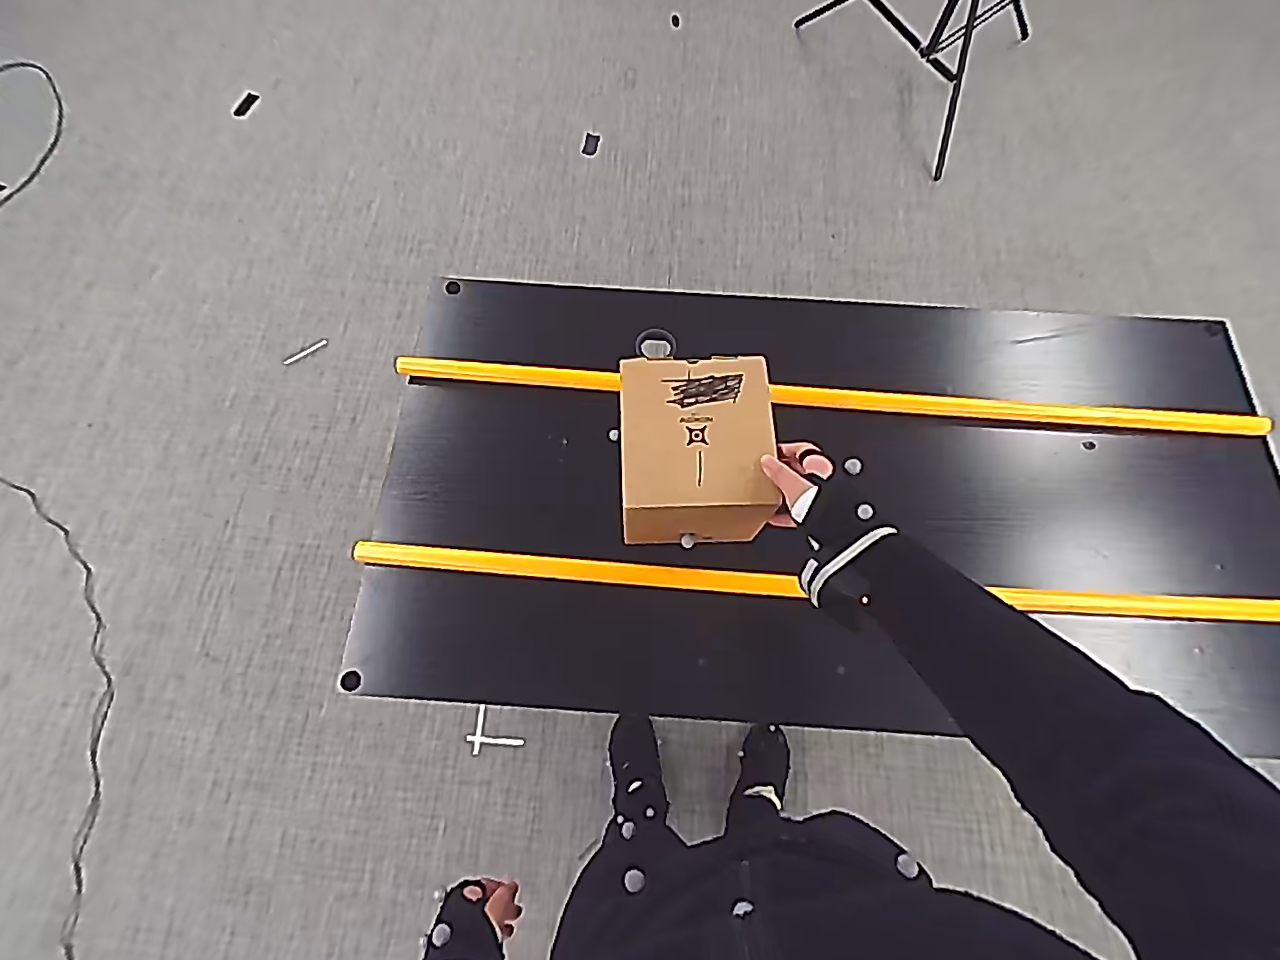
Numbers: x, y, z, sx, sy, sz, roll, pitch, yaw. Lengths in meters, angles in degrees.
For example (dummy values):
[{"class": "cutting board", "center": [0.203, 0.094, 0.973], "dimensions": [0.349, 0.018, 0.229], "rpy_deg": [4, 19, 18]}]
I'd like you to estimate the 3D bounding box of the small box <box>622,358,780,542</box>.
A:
[{"class": "small box", "center": [0.061, -0.030, 0.660], "dimensions": [0.168, 0.176, 0.179], "rpy_deg": [-1, 71, -1]}]
